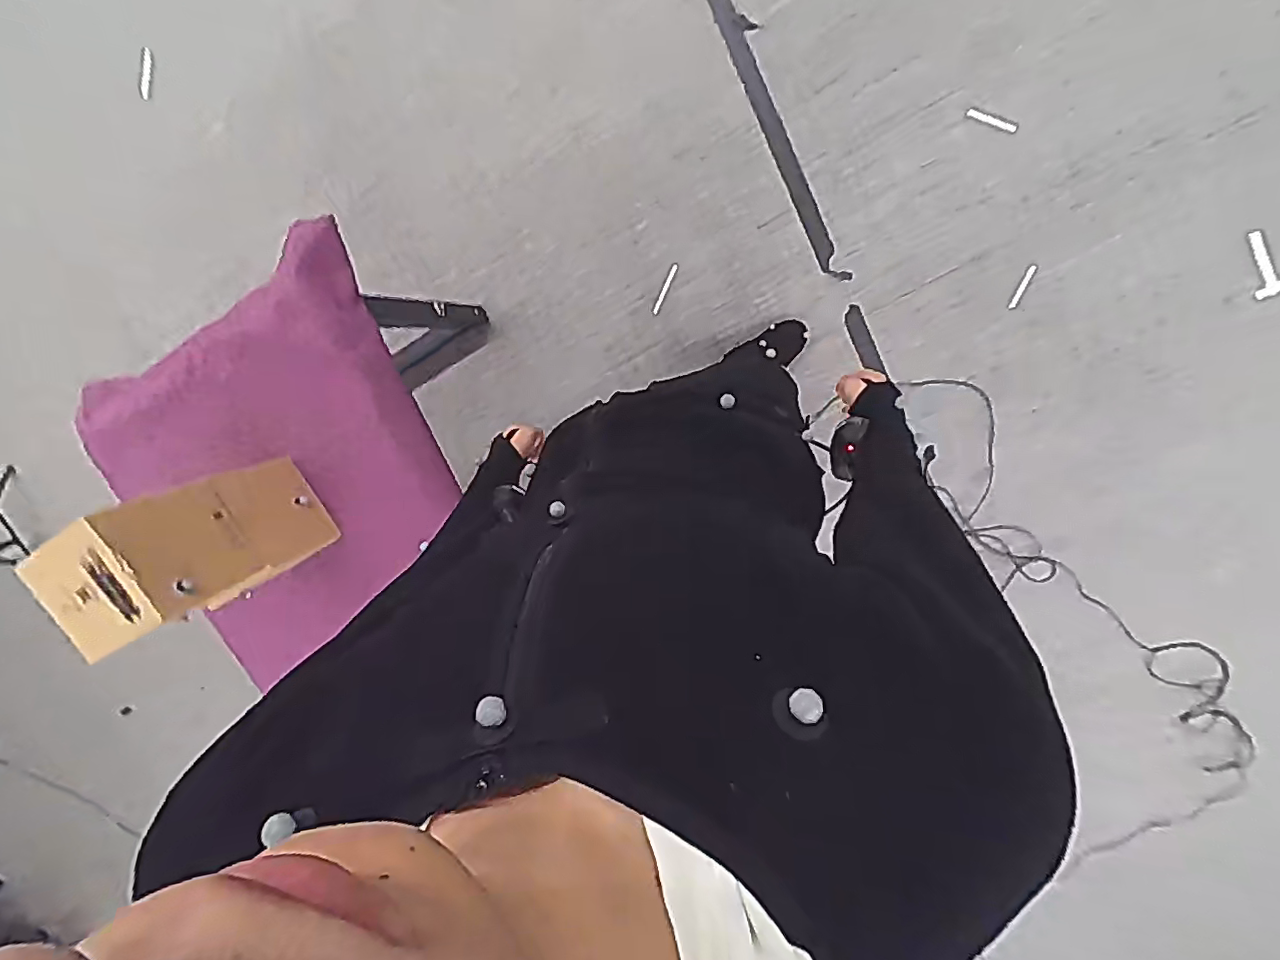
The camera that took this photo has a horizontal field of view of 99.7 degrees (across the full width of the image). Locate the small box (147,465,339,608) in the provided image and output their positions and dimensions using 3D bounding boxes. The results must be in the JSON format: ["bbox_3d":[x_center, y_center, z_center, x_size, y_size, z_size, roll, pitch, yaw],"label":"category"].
[{"bbox_3d":[-0.681,0.086,0.946,0.168,0.176,0.179,-29,98,17],"label":"small box"}]
